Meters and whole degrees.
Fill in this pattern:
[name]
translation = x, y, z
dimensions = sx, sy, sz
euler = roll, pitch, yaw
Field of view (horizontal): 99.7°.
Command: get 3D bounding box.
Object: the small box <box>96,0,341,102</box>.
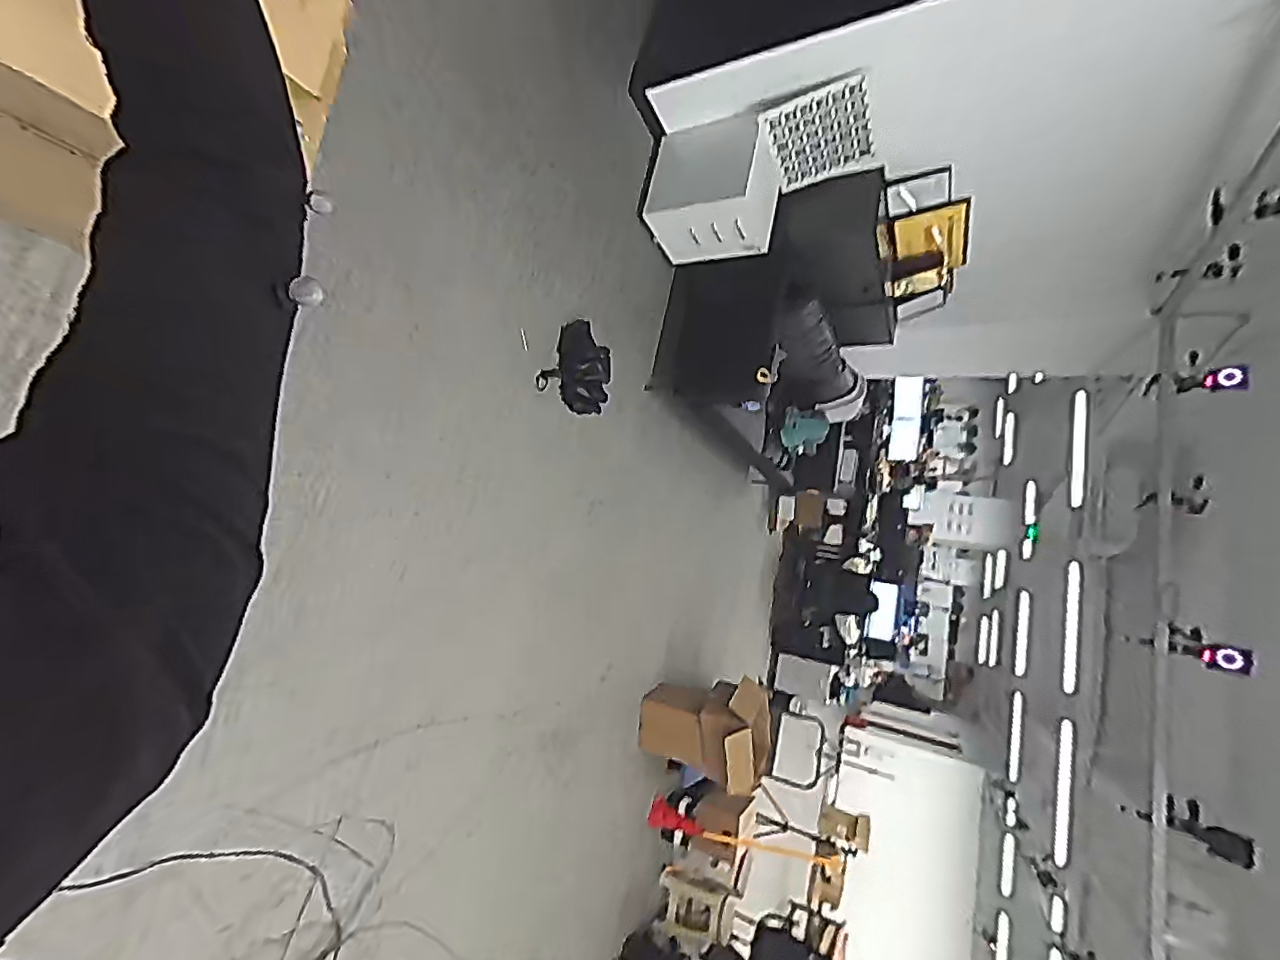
[small box]
translation = -0.504, -0.594, 0.654
dimensions = 0.179, 0.176, 0.168
euler = 15, 91, -62
